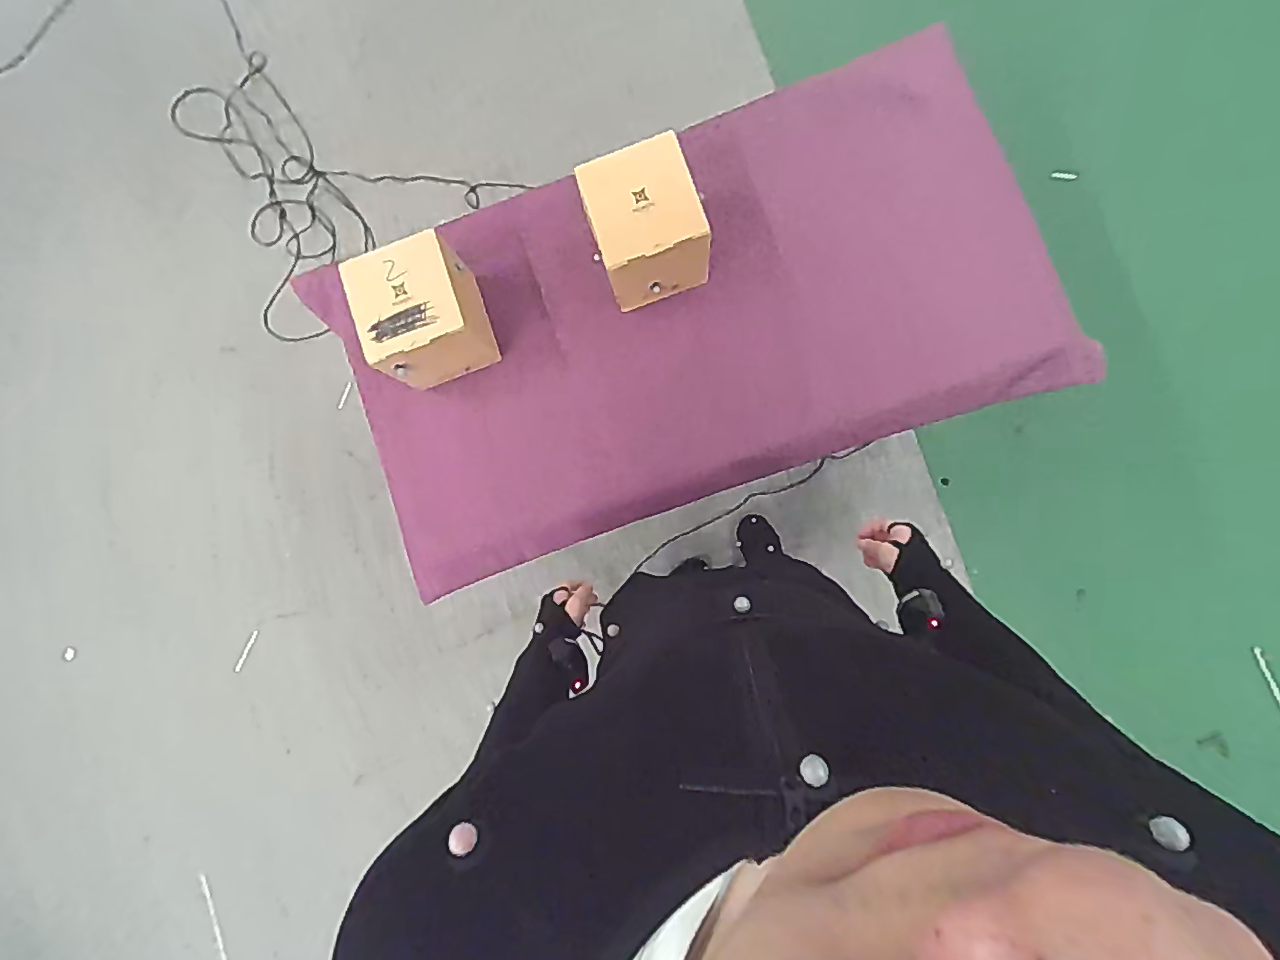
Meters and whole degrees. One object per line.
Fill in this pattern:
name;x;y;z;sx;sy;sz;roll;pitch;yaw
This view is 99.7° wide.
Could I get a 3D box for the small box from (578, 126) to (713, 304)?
small box;0.011;-0.423;0.890;0.168;0.176;0.179;-20;85;3
